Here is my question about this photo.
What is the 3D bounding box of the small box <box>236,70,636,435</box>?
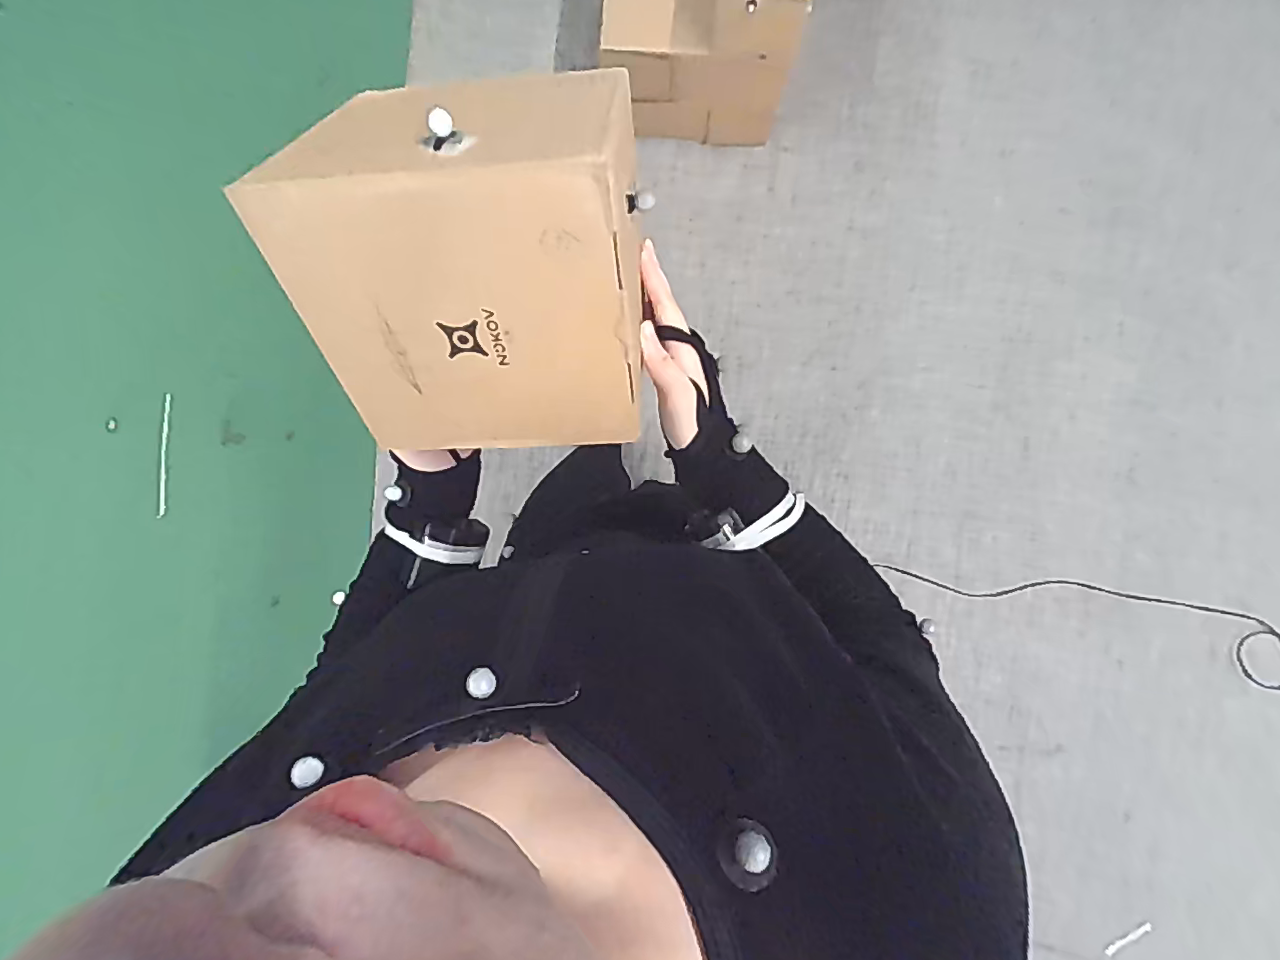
[{"bbox_3d":[-0.093,-0.146,0.352,0.179,0.176,0.168,0,138,4],"label":"small box"}]
